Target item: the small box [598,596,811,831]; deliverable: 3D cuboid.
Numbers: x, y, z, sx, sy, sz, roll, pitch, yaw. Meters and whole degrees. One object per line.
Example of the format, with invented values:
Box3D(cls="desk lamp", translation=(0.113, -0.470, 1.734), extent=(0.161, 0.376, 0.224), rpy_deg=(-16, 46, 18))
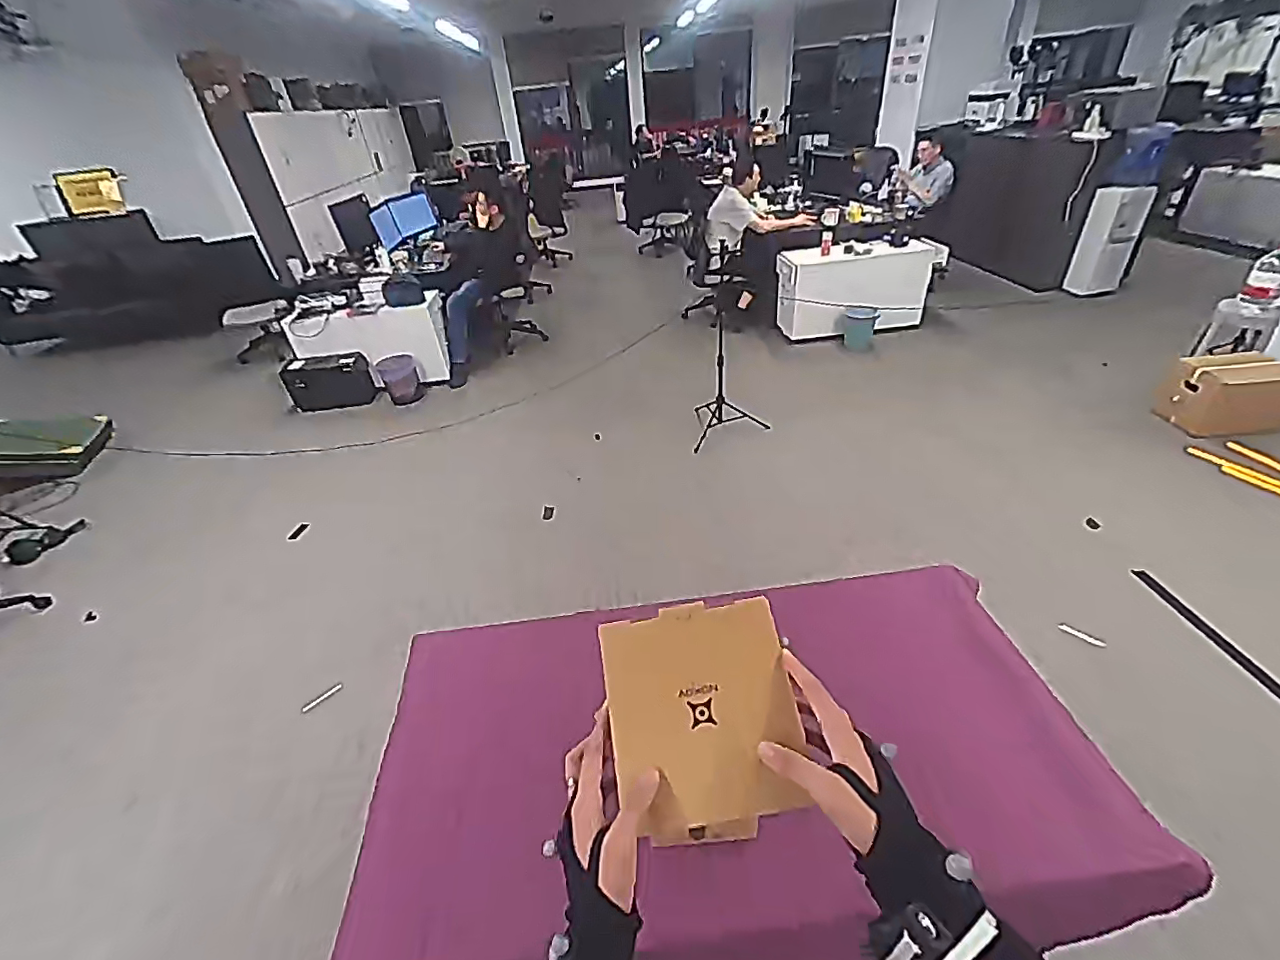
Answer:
Box3D(cls="small box", translation=(0.057, 0.237, 0.548), extent=(0.168, 0.176, 0.179), rpy_deg=(-9, 59, 0))
